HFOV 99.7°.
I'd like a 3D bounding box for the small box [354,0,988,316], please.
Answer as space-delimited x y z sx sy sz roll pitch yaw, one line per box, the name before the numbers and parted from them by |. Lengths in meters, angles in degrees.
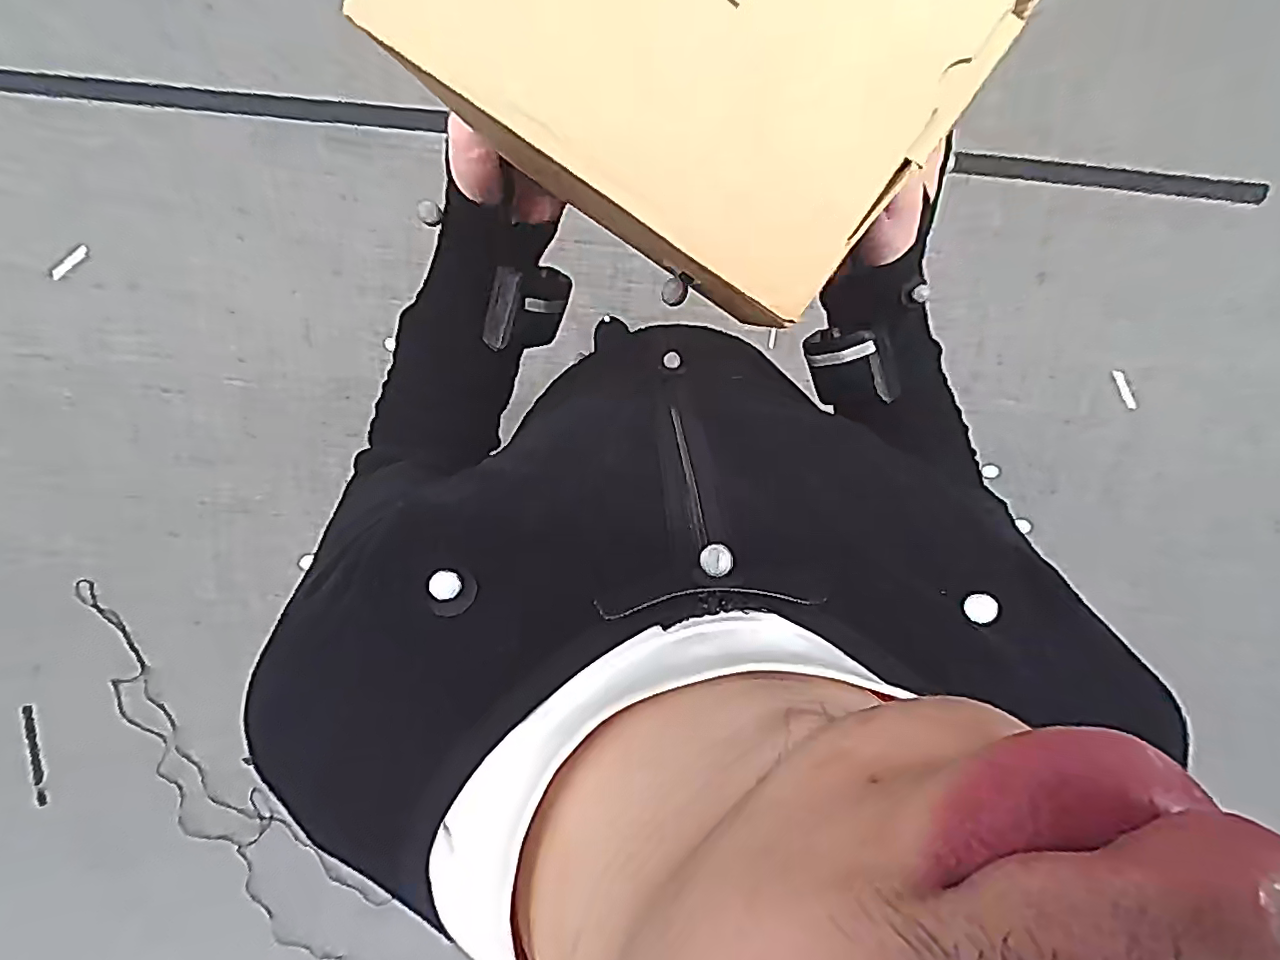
small box | 0.025 -0.193 0.243 0.179 0.176 0.168 33 106 -4
